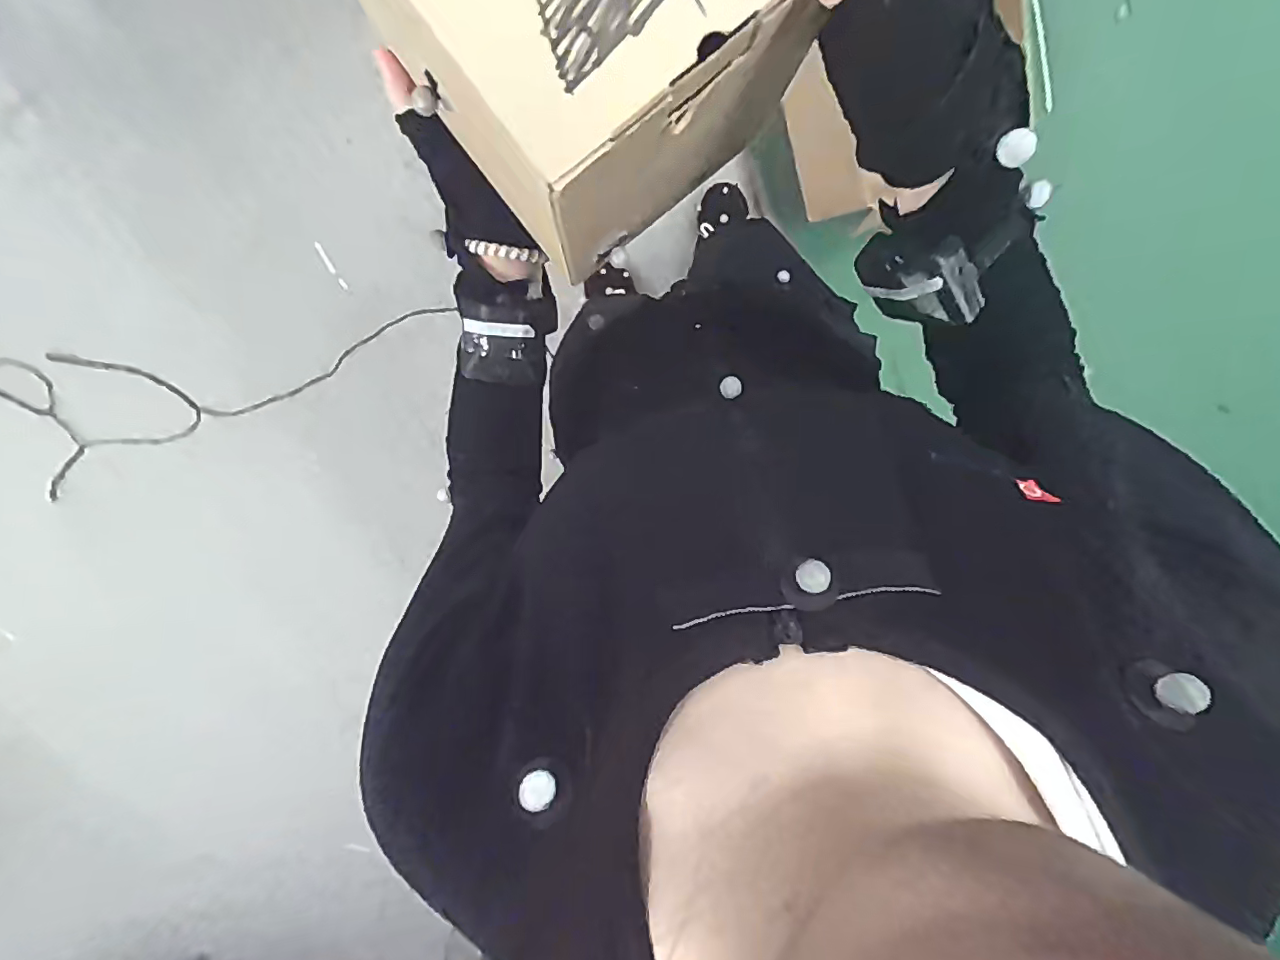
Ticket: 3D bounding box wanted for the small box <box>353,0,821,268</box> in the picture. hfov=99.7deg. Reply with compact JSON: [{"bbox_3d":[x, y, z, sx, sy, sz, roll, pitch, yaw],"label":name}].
[{"bbox_3d":[-0.033,-0.235,0.279,0.168,0.176,0.179,-40,98,1],"label":"small box"}]
